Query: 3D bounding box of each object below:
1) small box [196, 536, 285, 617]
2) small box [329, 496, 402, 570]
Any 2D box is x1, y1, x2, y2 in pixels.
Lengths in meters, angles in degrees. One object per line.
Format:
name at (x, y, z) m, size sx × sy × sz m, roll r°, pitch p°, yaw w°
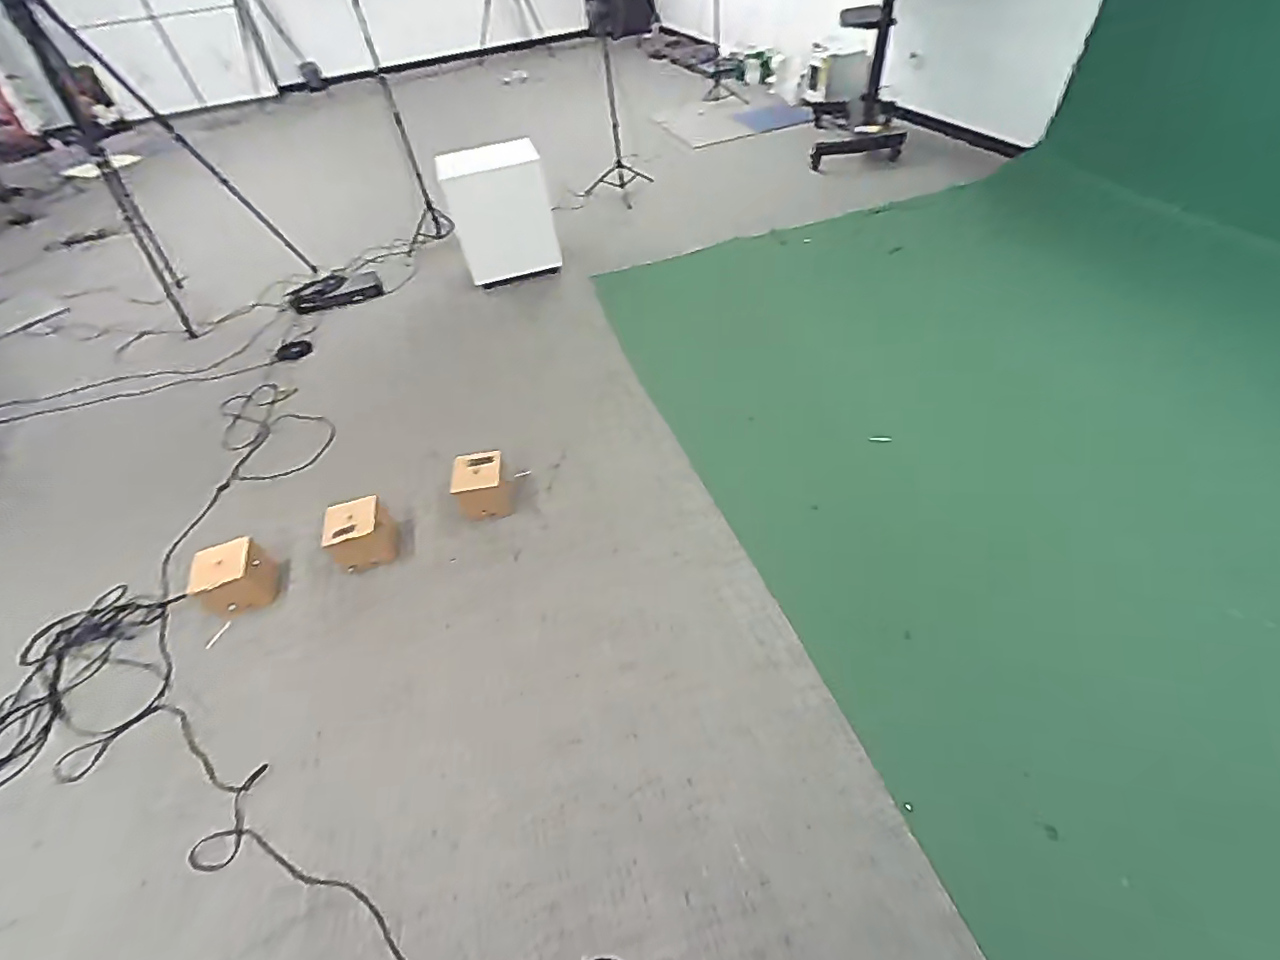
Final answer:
small box at (-1.310, 0.321, 1.788) m, size 0.168 × 0.176 × 0.179 m, roll -19°, pitch 49°, yaw -9°
small box at (-0.935, 0.189, 1.855) m, size 0.168 × 0.176 × 0.179 m, roll -15°, pitch 47°, yaw -6°
